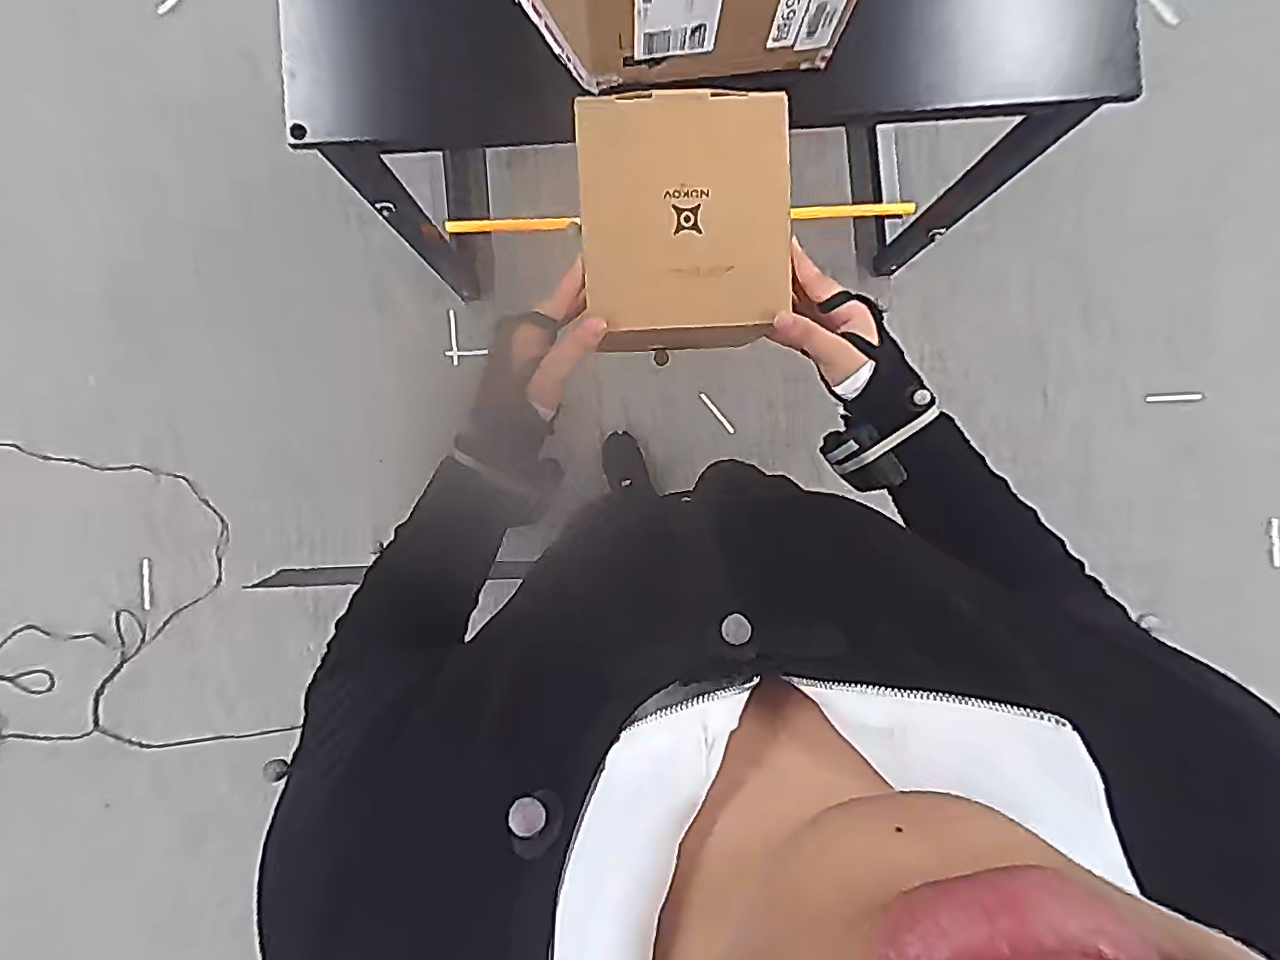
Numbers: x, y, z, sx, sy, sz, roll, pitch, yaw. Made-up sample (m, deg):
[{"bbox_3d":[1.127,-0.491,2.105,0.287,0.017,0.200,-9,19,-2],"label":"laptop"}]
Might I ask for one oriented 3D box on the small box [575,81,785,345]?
[{"bbox_3d":[0.027,-0.227,0.500,0.168,0.176,0.179,-3,98,-3],"label":"small box"}]
